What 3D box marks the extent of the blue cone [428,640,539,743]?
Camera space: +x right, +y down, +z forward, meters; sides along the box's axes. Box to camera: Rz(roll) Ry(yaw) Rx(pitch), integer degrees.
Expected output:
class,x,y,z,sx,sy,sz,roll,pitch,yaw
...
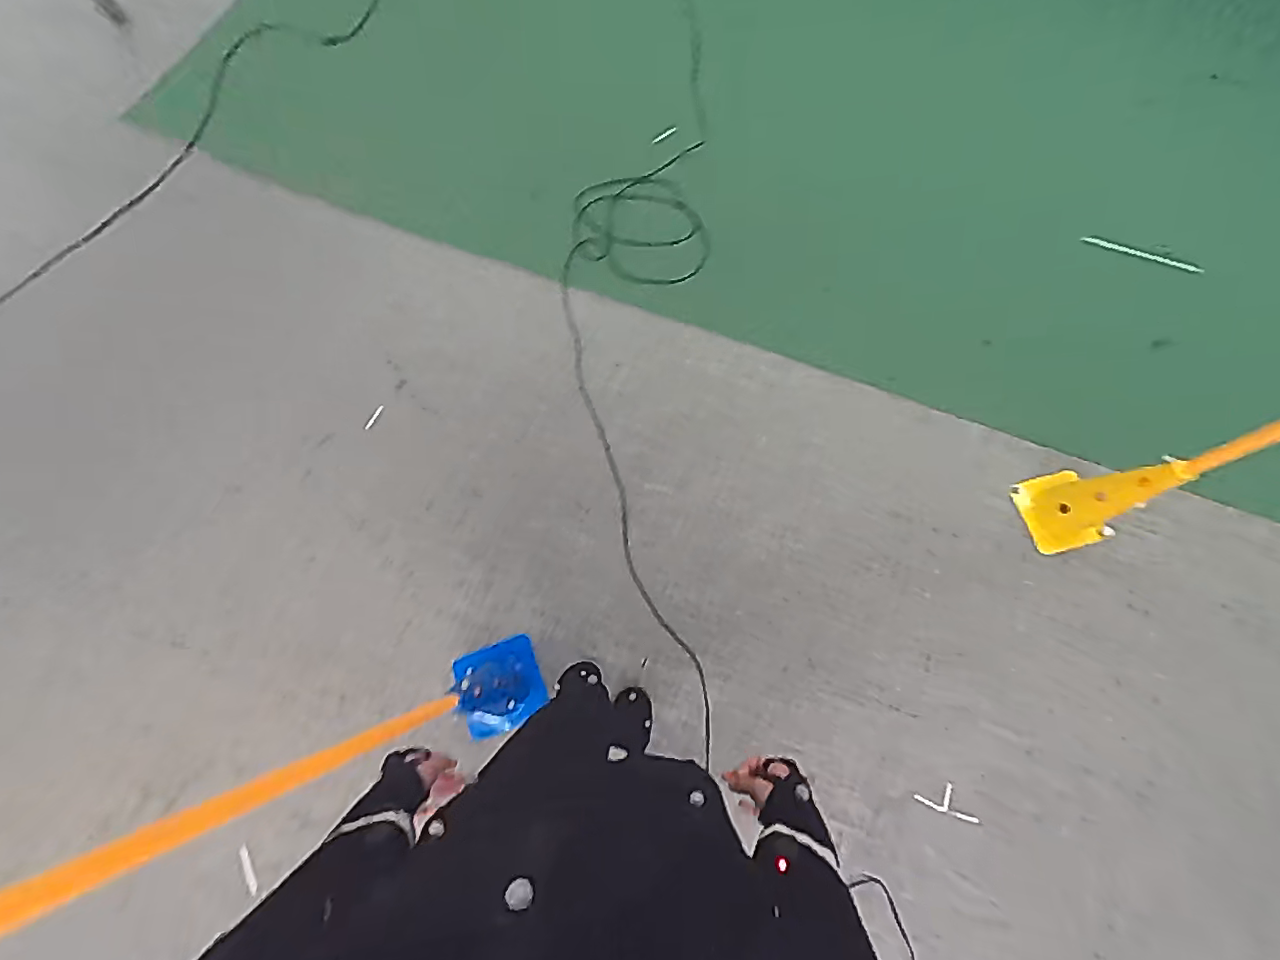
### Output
class,x,y,z,sx,sy,sz,roll,pitch,yaw
blue cone,-0.348,0.457,1.117,0.193,0.380,0.192,-23,75,-6
